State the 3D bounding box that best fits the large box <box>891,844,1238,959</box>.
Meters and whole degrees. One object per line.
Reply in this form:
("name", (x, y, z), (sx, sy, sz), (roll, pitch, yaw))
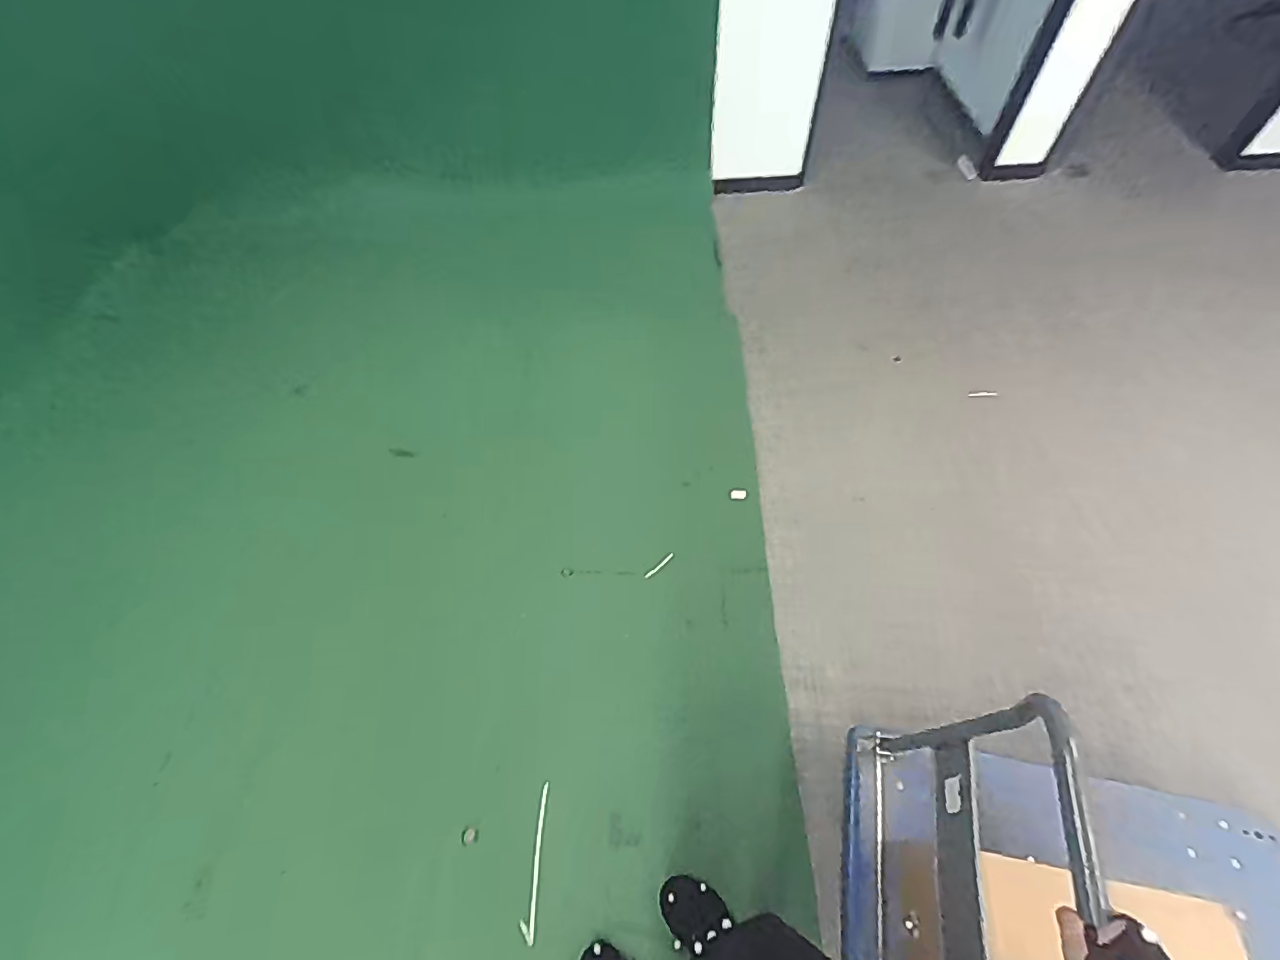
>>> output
("large box", (0.698, 0.843, 0.927), (0.408, 0.320, 0.320), (8, 59, 7))
